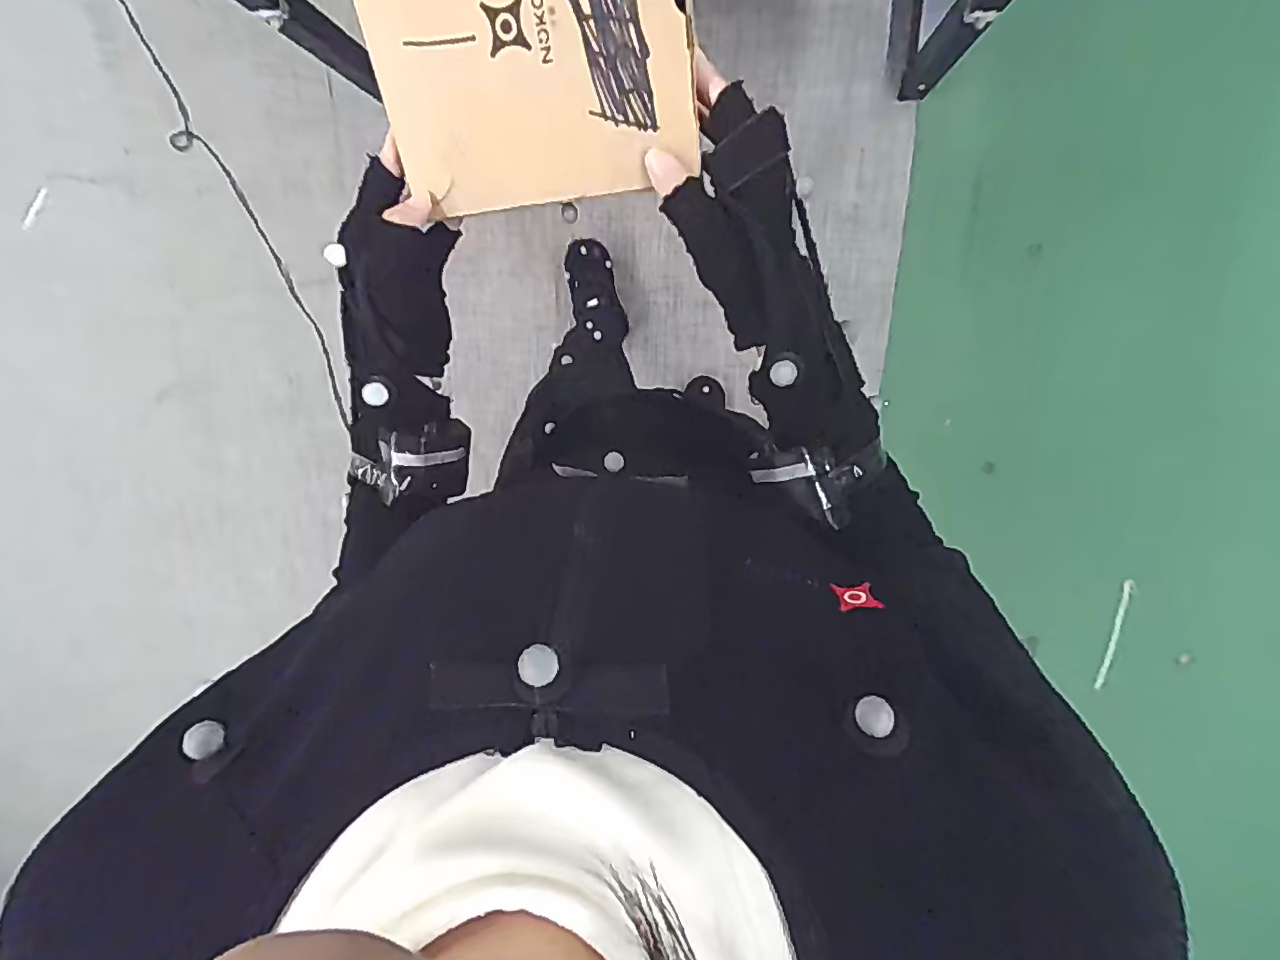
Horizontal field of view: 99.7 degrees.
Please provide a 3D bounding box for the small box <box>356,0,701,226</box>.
[{"bbox_3d":[-0.053,-0.274,0.355,0.179,0.176,0.168,-3,120,9],"label":"small box"}]
